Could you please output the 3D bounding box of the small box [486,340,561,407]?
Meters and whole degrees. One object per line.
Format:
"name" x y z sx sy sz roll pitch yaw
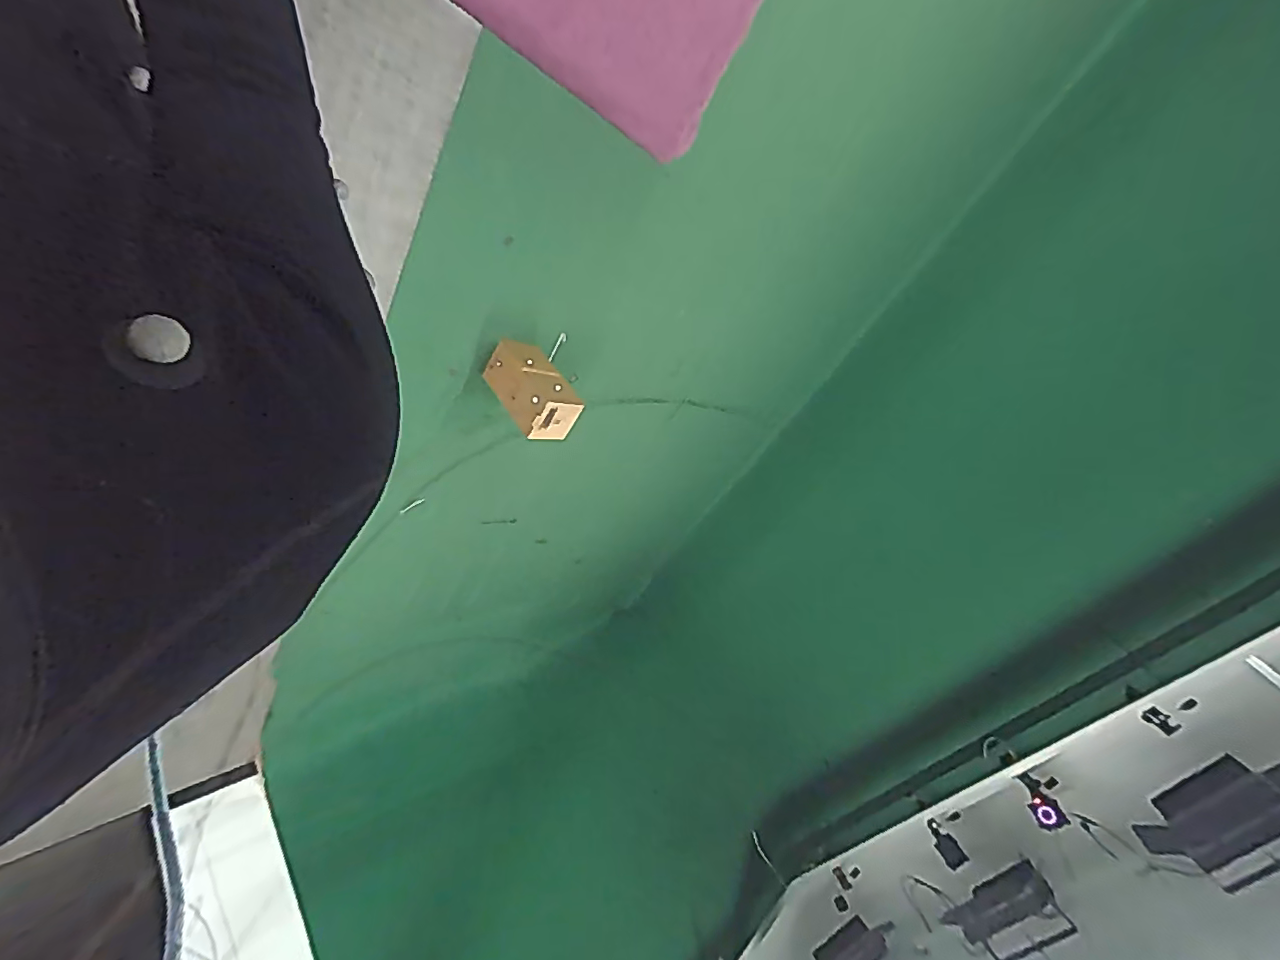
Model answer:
"small box" -0.427 -0.388 1.971 0.179 0.176 0.168 -2 137 -51
